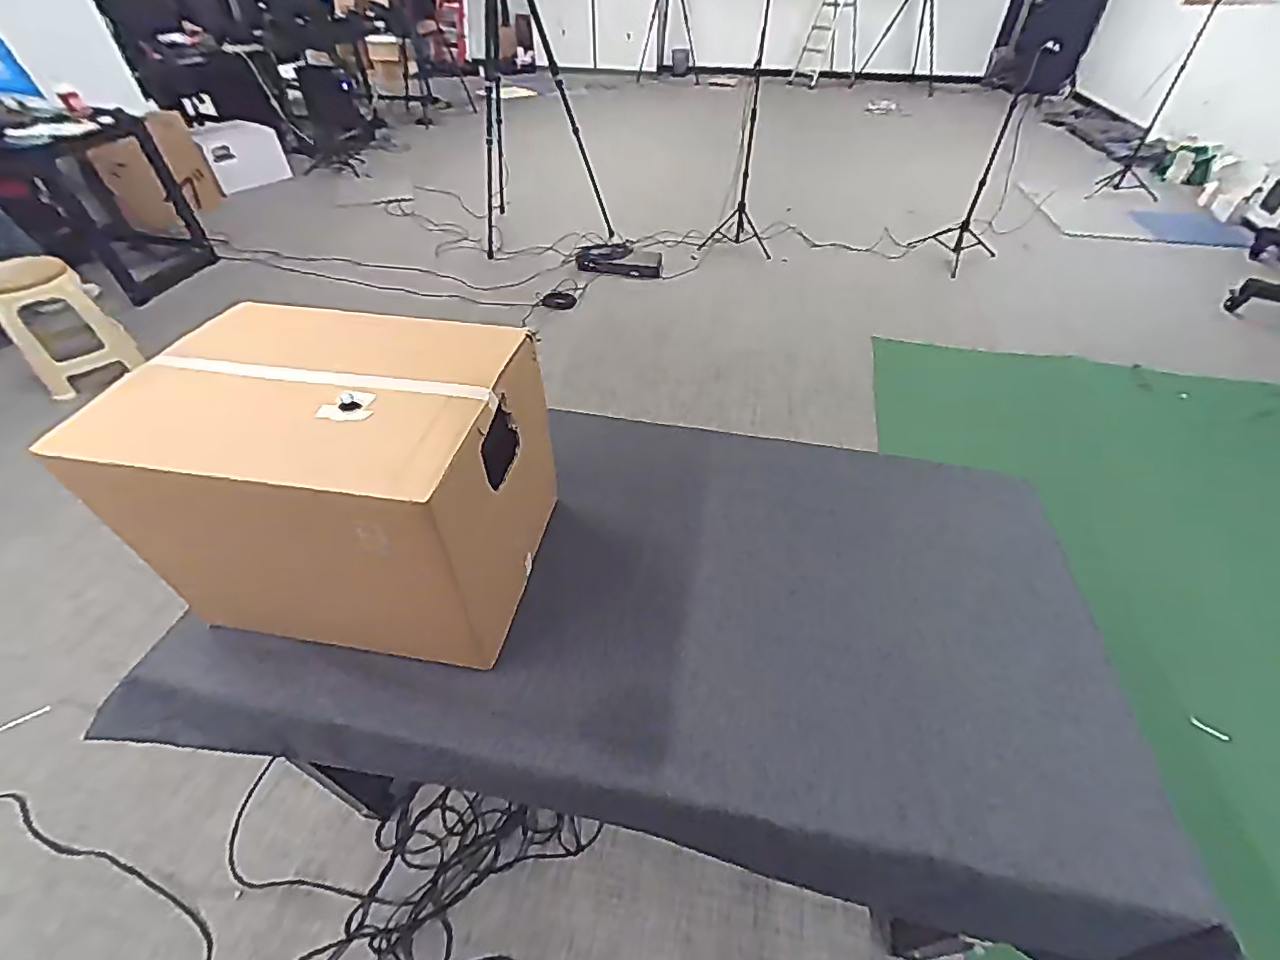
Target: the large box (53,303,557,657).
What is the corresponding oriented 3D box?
[{"bbox_3d":[-0.348,-0.004,0.706,0.408,0.320,0.320,8,45,5],"label":"large box"}]
